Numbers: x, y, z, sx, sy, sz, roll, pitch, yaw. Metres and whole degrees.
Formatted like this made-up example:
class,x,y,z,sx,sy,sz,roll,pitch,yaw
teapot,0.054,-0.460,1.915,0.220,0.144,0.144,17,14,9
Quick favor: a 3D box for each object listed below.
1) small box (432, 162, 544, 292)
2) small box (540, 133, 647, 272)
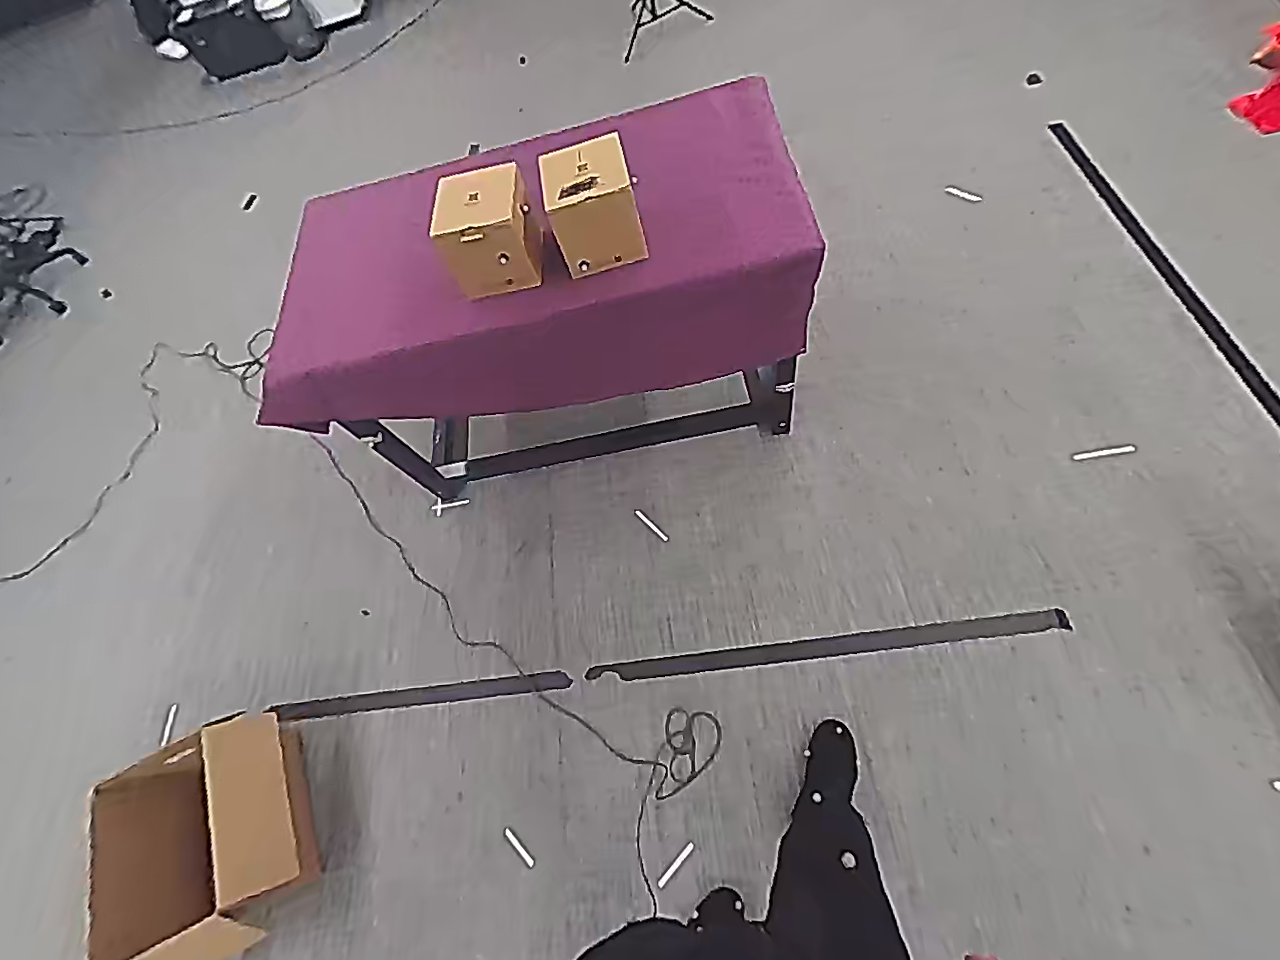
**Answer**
class,x,y,z,sx,sy,sz,roll,pitch,yaw
small box,-0.305,-0.512,1.122,0.168,0.176,0.179,-7,63,9
small box,-0.090,-0.547,1.089,0.168,0.176,0.179,-14,61,6
